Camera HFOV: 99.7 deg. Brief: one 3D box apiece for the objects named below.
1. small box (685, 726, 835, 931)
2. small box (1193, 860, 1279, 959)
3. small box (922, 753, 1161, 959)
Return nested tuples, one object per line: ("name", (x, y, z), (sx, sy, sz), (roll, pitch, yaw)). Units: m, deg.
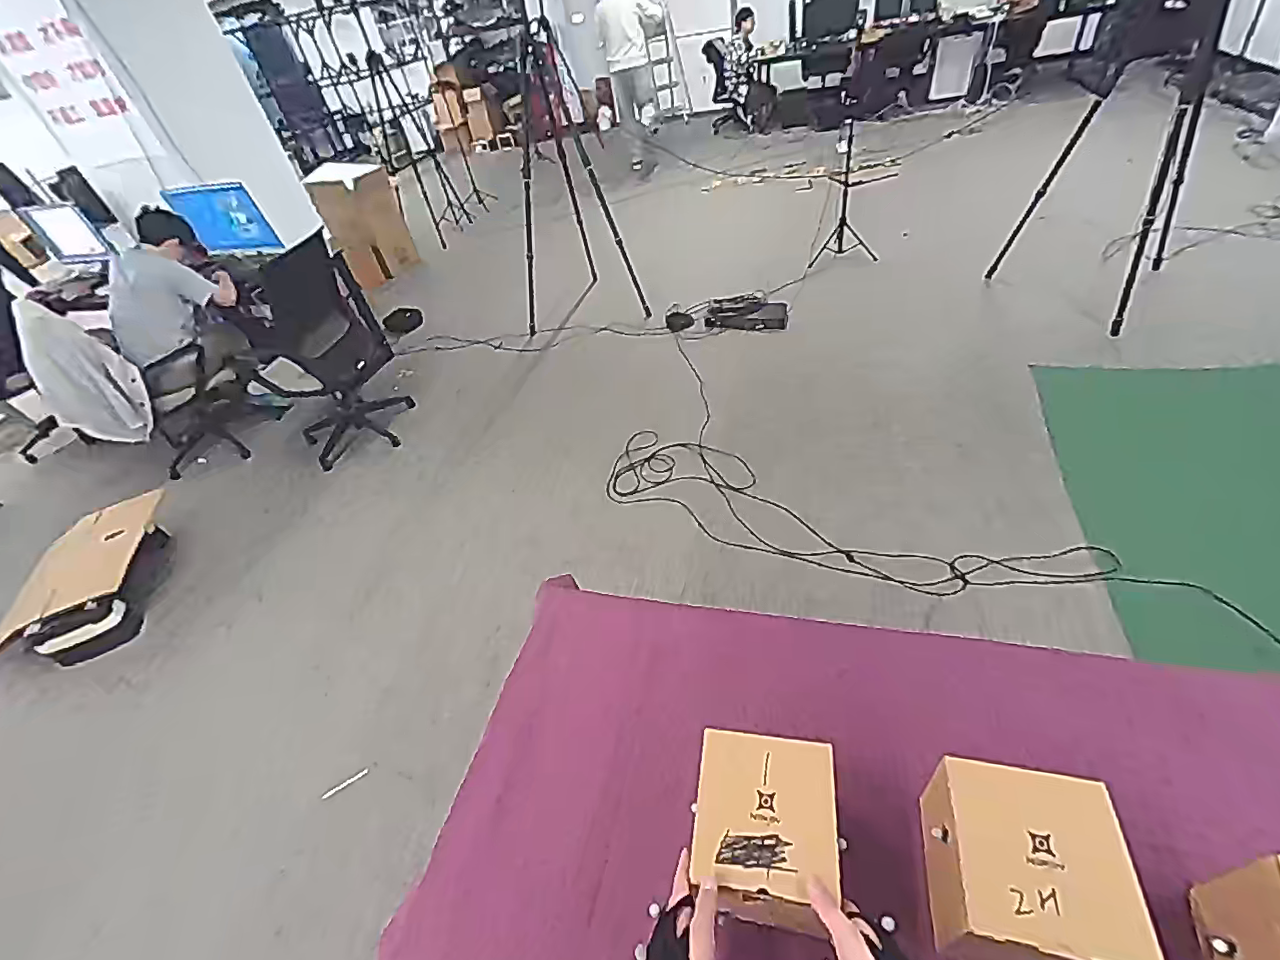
("small box", (0.159, 0.450, 0.700), (0.168, 0.176, 0.179), (1, 44, 15))
("small box", (0.694, 0.504, 0.513), (0.179, 0.176, 0.168), (11, 48, 25))
("small box", (0.438, 0.453, 0.628), (0.168, 0.176, 0.179), (3, 45, 17))
